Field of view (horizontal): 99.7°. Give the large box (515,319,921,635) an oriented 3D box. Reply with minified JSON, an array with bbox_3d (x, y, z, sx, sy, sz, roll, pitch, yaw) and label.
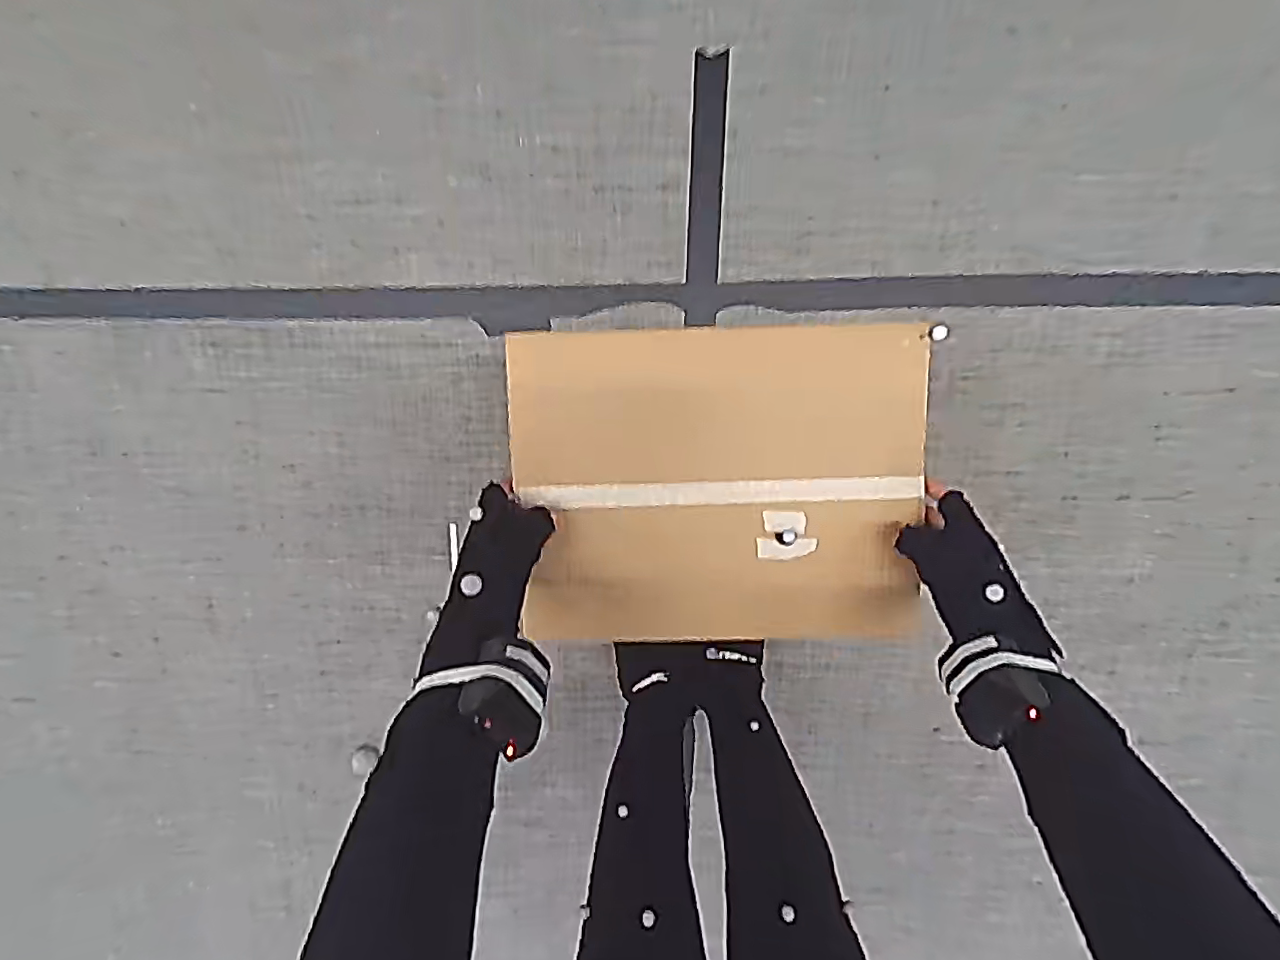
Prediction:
[{"bbox_3d":[0.081,-0.016,0.694,0.408,0.320,0.320,-2,99,1],"label":"large box"}]
